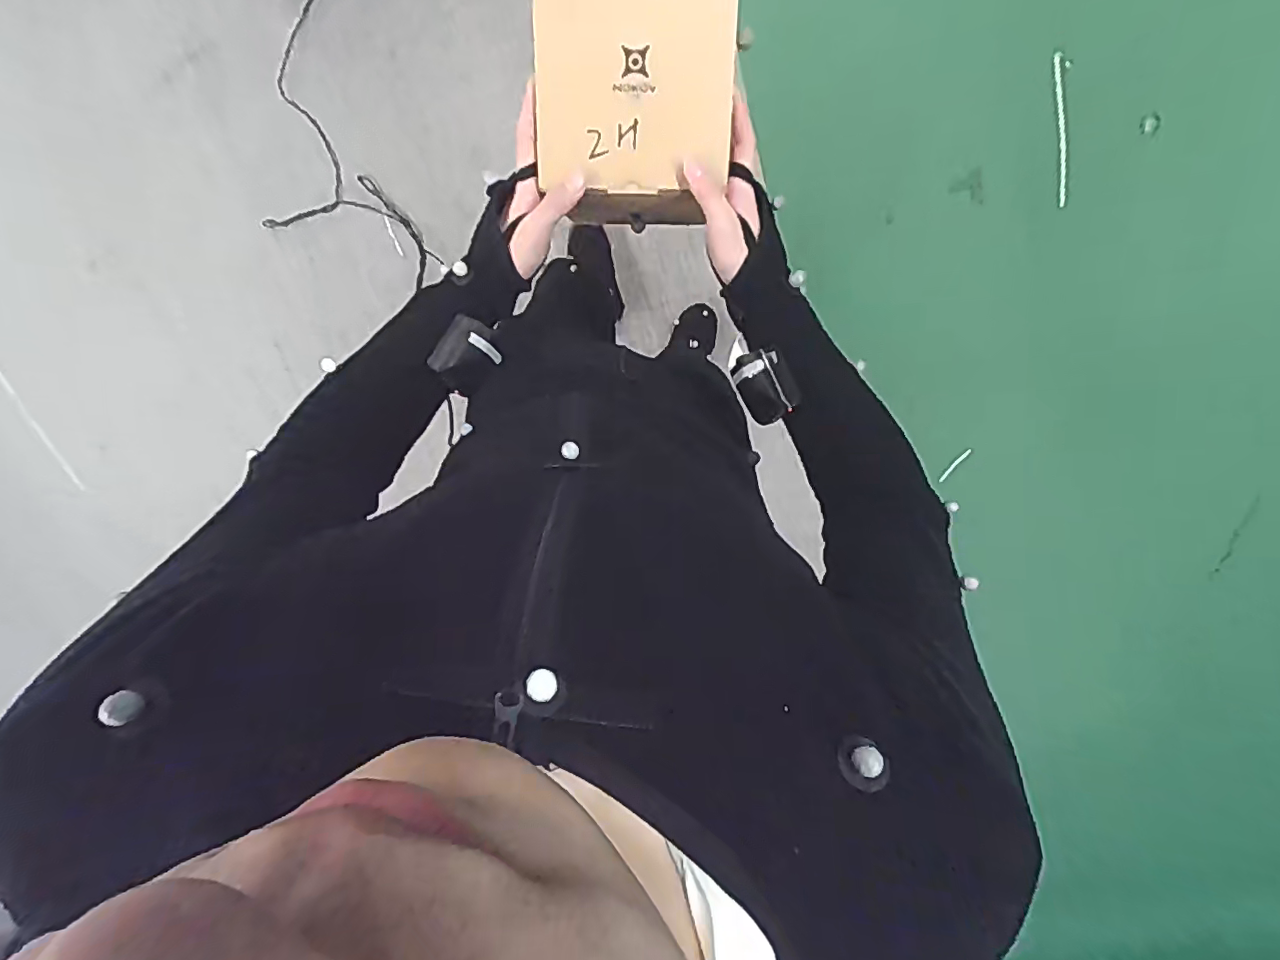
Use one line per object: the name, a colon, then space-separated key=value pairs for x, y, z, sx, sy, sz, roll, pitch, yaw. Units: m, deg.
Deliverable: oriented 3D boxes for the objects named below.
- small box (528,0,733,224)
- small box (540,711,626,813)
small box: x=-0.005 y=-0.357 z=0.518 sx=0.168 sy=0.176 sz=0.179 roll=2 pitch=106 yaw=4
small box: x=-0.144 y=0.756 z=1.456 sx=0.168 sy=0.176 sz=0.179 roll=-12 pitch=108 yaw=13
